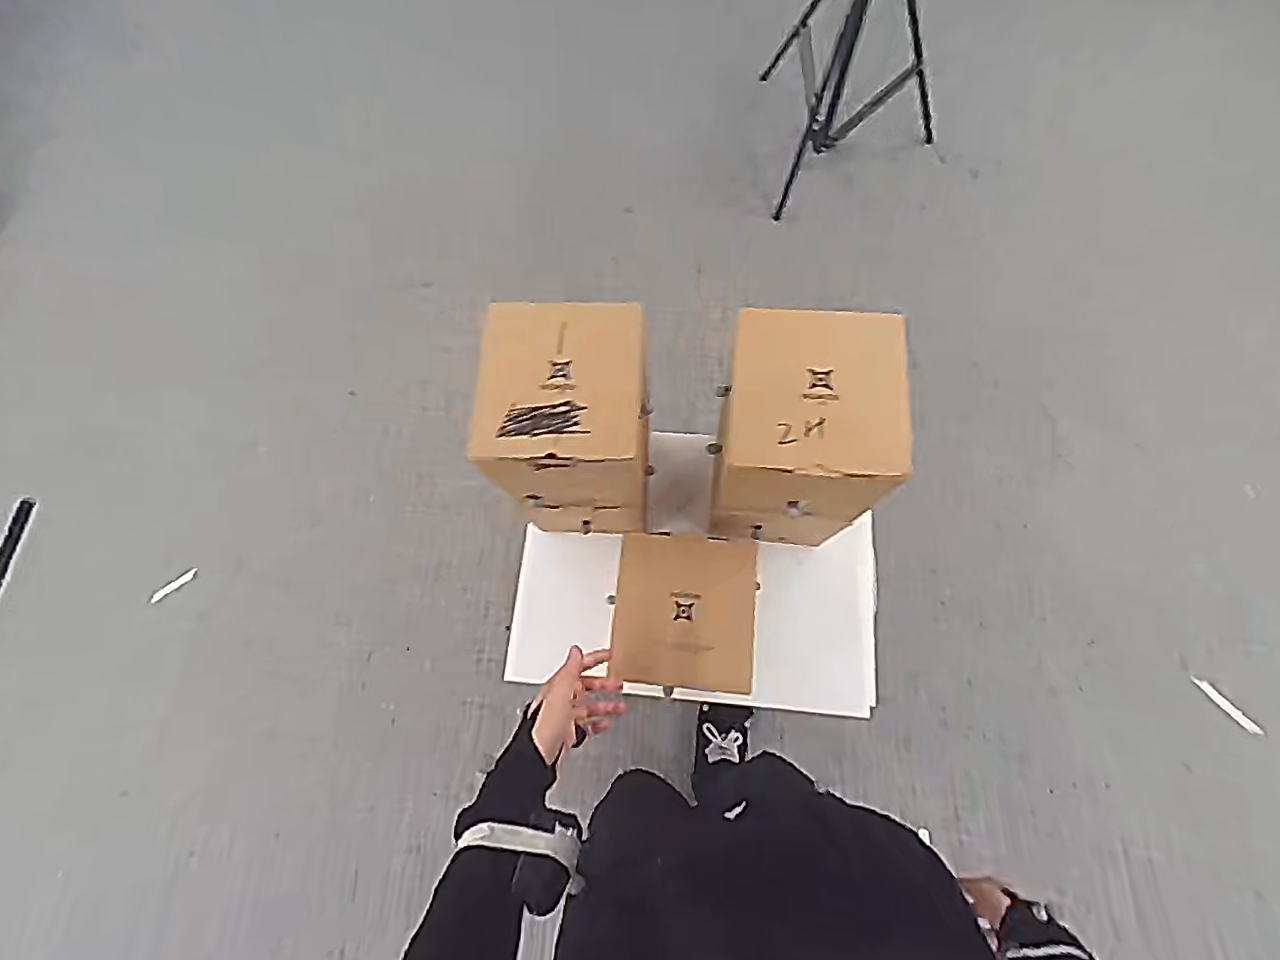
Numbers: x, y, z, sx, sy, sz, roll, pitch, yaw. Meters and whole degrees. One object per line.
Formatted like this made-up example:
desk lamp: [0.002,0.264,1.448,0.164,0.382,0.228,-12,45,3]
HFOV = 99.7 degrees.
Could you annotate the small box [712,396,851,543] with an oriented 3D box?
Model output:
small box: [0.191,-0.015,0.756,0.168,0.176,0.179,5,73,6]

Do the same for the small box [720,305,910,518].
small box: [0.179,-0.067,0.599,0.168,0.176,0.179,4,74,6]

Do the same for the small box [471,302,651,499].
small box: [-0.075,-0.080,0.618,0.168,0.176,0.179,1,73,4]
